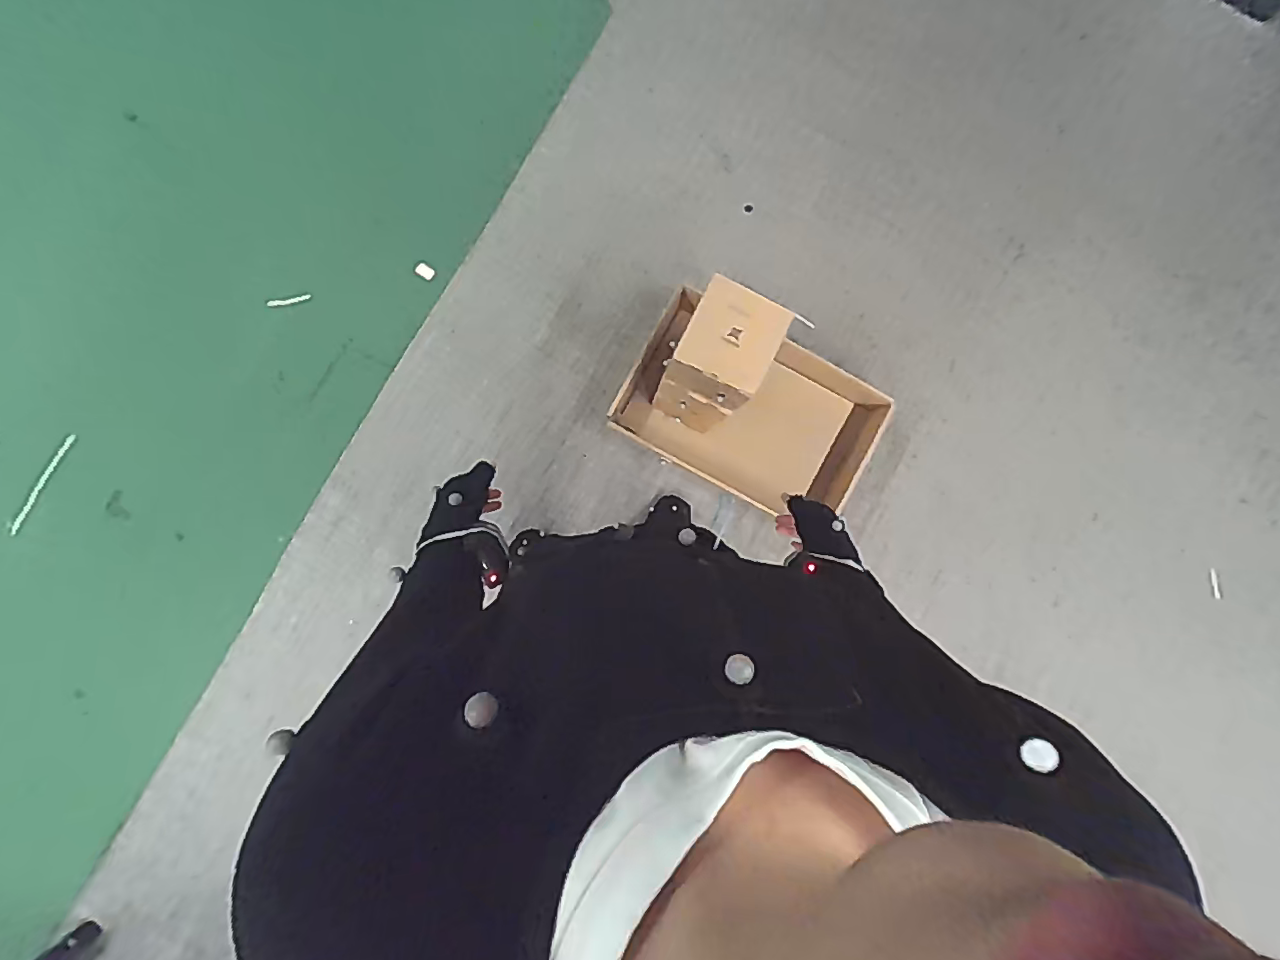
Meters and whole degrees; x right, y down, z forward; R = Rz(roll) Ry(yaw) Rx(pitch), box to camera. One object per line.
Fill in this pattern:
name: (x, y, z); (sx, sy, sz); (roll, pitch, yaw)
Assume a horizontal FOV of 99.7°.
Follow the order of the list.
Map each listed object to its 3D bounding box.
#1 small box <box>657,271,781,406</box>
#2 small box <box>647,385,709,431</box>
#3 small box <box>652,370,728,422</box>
small box: (0.141, -0.258, 1.036); (0.168, 0.176, 0.179); (25, 88, -3)
small box: (0.125, -0.242, 1.361); (0.168, 0.176, 0.179); (27, 88, -1)
small box: (0.133, -0.247, 1.199); (0.168, 0.176, 0.179); (26, 88, -2)
